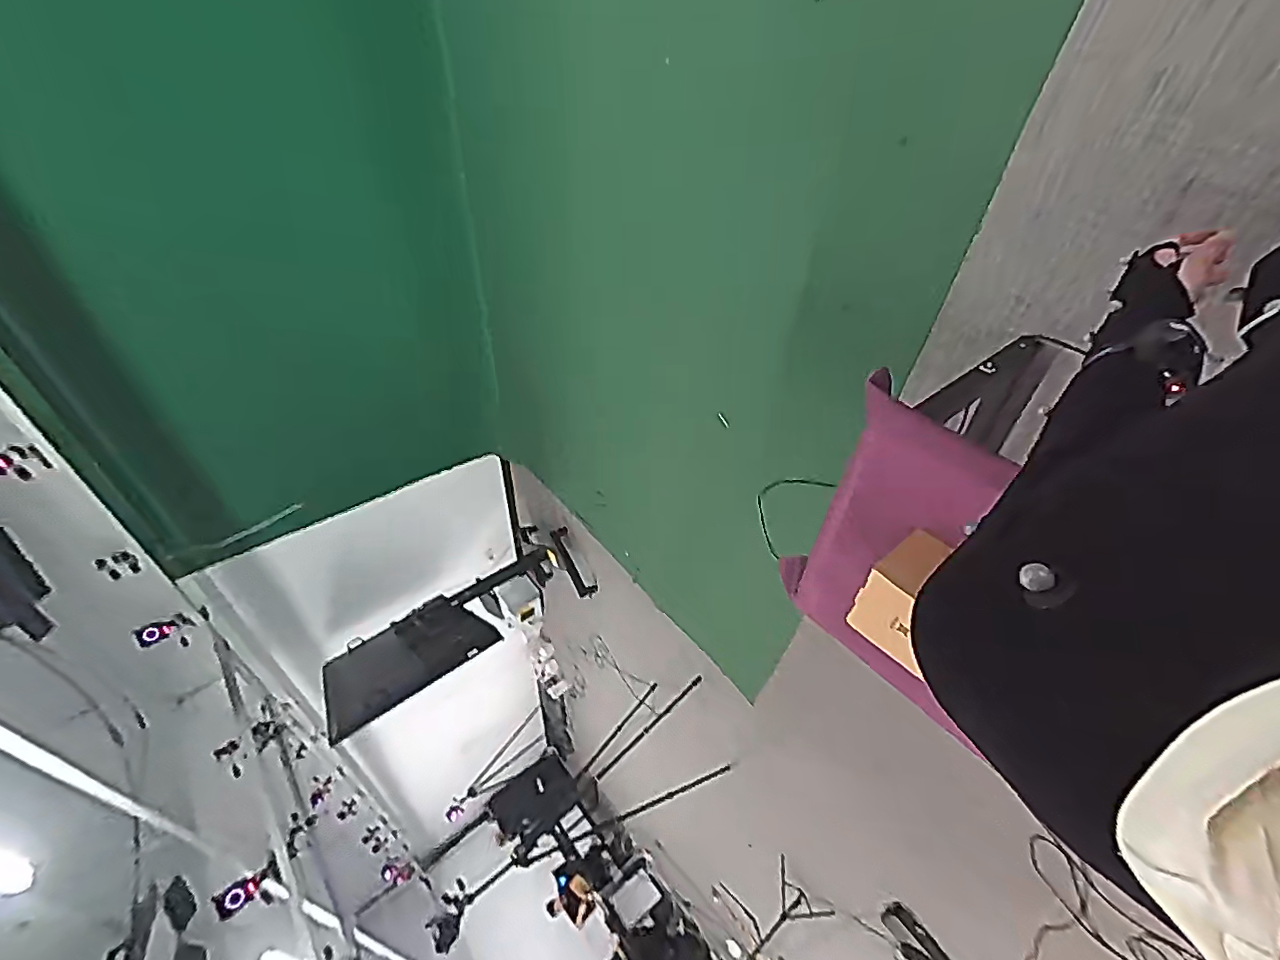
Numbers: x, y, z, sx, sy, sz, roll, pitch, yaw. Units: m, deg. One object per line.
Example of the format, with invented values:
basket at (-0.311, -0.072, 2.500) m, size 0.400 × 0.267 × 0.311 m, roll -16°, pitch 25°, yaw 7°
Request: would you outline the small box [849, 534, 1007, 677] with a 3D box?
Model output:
small box at (0.538, 0.224, 1.022) m, size 0.179 × 0.176 × 0.168 m, roll 40°, pitch 143°, yaw 33°
